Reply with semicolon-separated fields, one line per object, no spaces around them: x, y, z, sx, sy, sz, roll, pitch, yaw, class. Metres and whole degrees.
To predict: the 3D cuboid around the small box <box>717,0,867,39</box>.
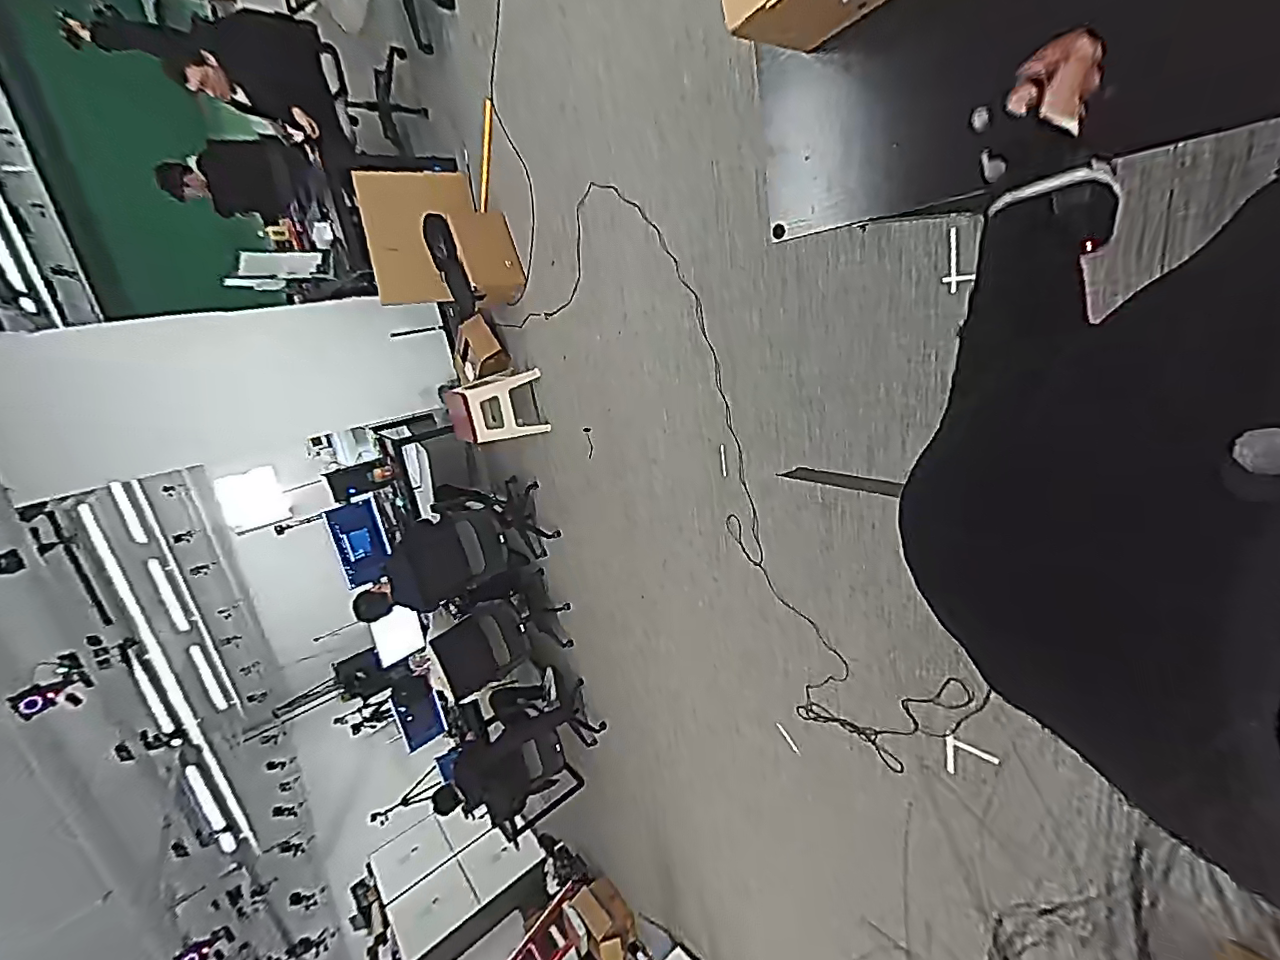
0.195;-0.653;0.626;0.168;0.176;0.179;6;112;51;small box
